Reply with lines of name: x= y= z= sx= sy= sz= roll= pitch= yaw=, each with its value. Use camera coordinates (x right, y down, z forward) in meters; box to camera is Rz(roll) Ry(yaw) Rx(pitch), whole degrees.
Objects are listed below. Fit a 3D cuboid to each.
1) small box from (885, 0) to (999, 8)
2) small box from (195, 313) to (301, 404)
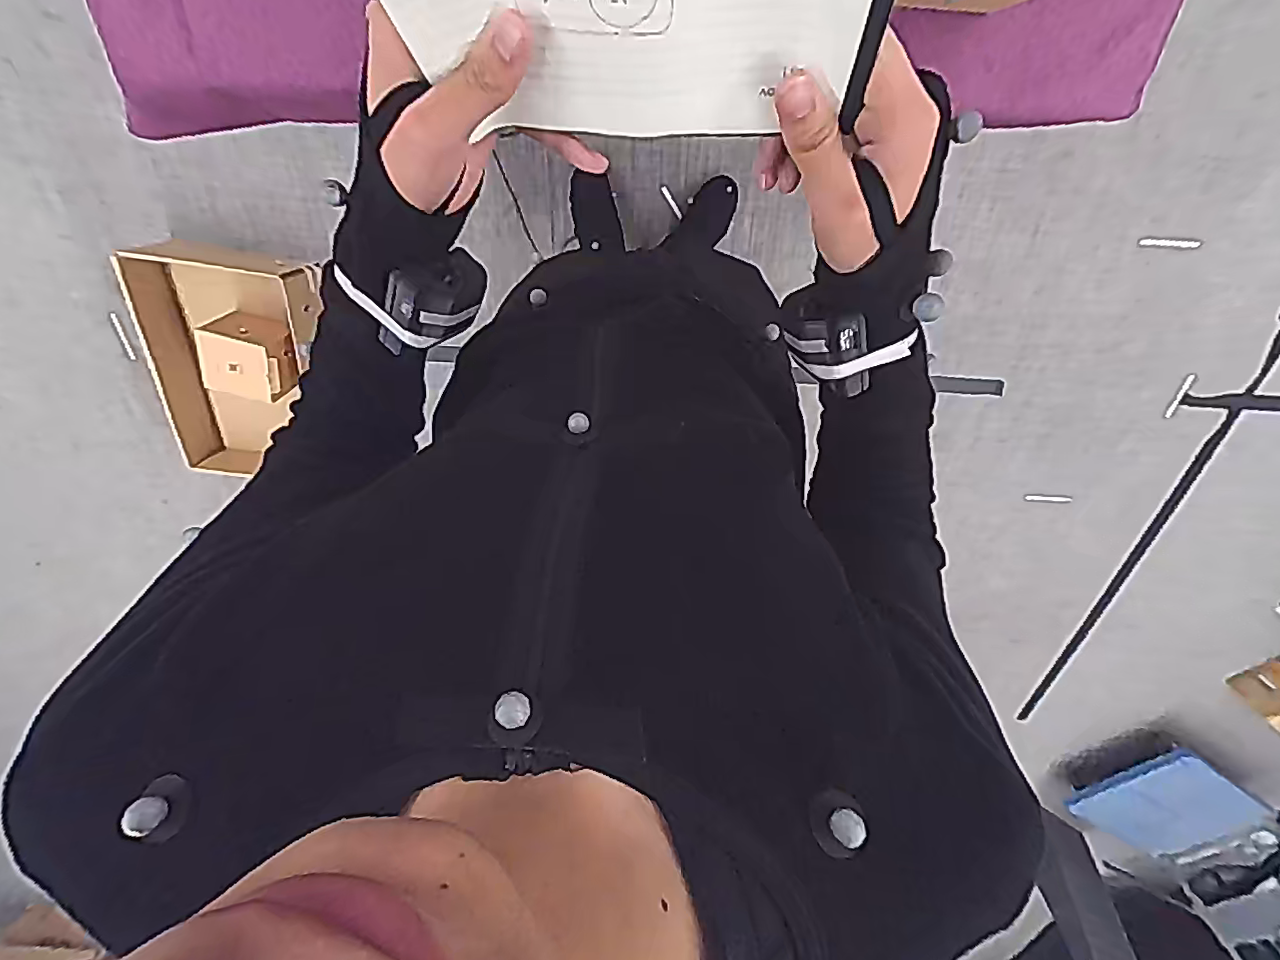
small box: x=0.305 y=-0.544 z=0.478 sx=0.179 sy=0.176 sz=0.168 roll=4 pitch=123 yaw=-1
small box: x=-1.037 y=-0.332 z=1.453 sx=0.179 sy=0.176 sz=0.168 roll=14 pitch=122 yaw=-8
